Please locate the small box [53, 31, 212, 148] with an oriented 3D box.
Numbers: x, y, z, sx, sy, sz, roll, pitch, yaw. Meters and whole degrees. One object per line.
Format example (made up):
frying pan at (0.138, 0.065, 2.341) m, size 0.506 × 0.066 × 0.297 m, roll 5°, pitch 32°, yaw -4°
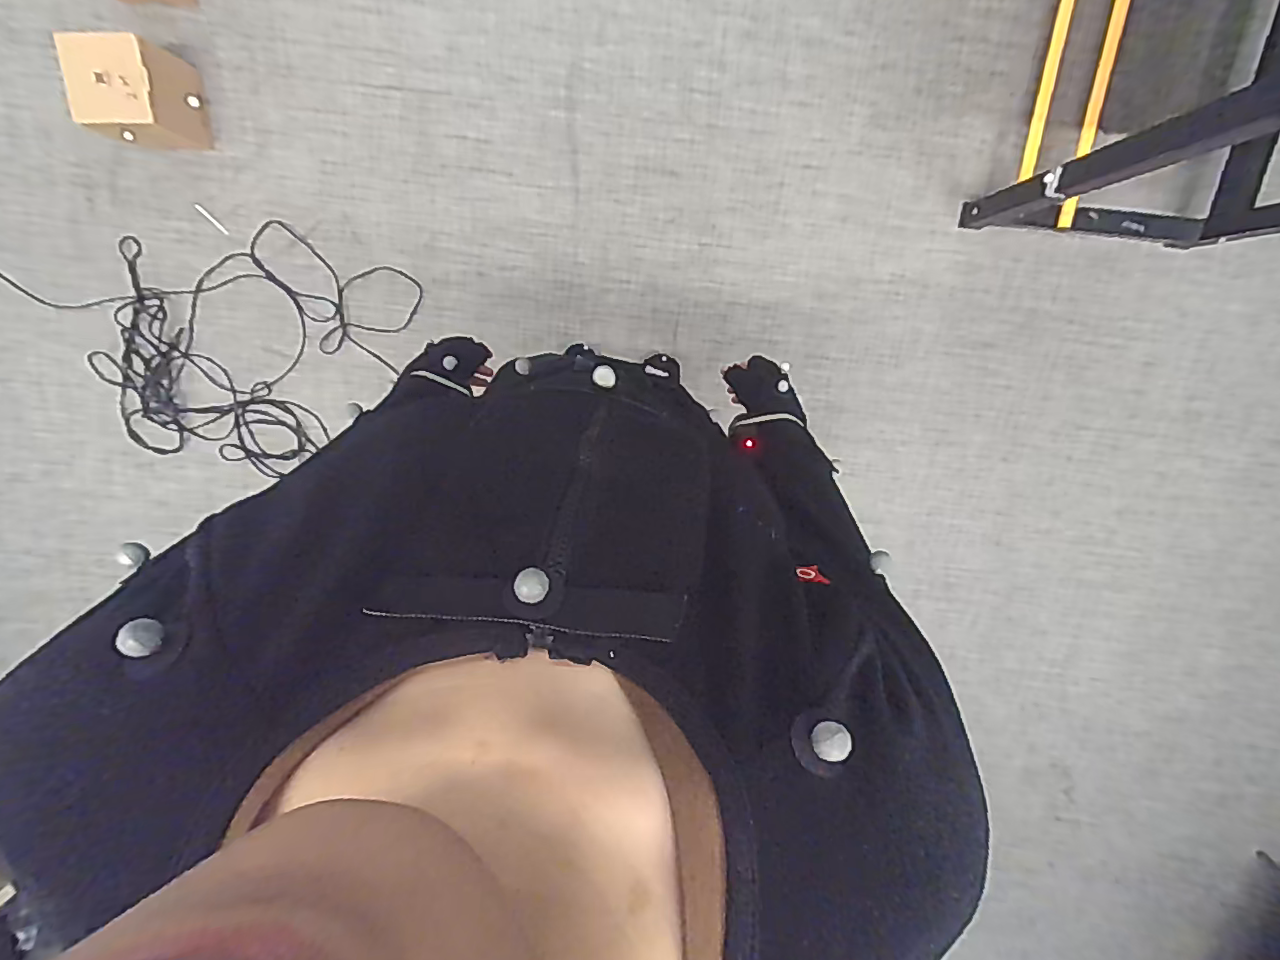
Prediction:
small box at (-1.108, -0.853, 1.195) m, size 0.179 × 0.176 × 0.168 m, roll 0°, pitch 106°, yaw 0°
